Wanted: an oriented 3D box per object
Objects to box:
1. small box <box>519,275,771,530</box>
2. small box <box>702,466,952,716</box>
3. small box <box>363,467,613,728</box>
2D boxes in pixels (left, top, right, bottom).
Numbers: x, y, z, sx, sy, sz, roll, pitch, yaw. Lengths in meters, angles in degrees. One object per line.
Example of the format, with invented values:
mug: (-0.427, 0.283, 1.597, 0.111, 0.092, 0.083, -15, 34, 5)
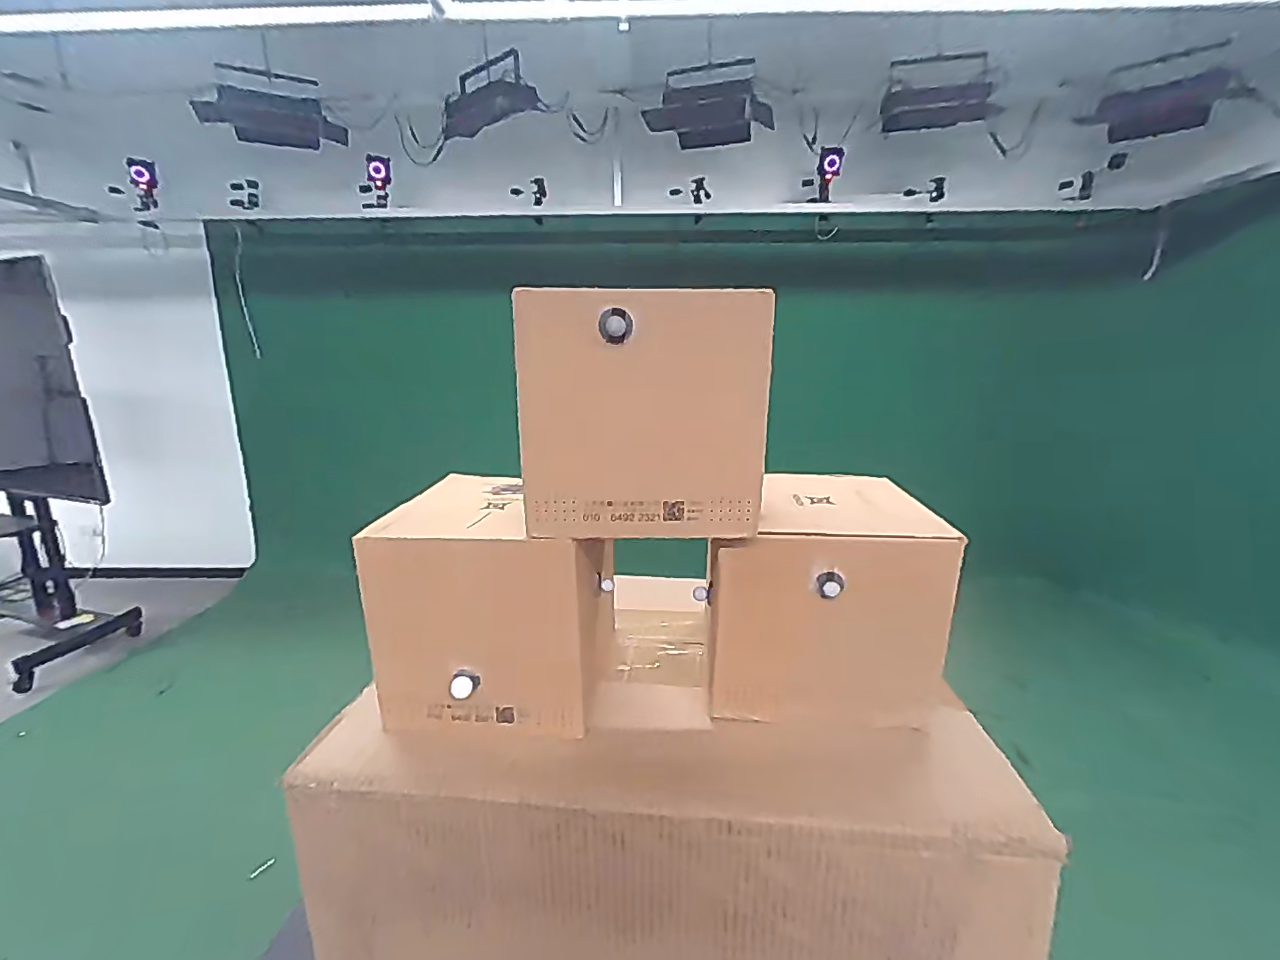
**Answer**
small box: (0.001, -0.067, 0.444, 0.168, 0.176, 0.179, 1, 15, 0)
small box: (0.147, 0.089, 0.493, 0.179, 0.176, 0.168, 3, 16, 4)
small box: (-0.117, 0.091, 0.490, 0.168, 0.176, 0.179, 1, 16, 6)
